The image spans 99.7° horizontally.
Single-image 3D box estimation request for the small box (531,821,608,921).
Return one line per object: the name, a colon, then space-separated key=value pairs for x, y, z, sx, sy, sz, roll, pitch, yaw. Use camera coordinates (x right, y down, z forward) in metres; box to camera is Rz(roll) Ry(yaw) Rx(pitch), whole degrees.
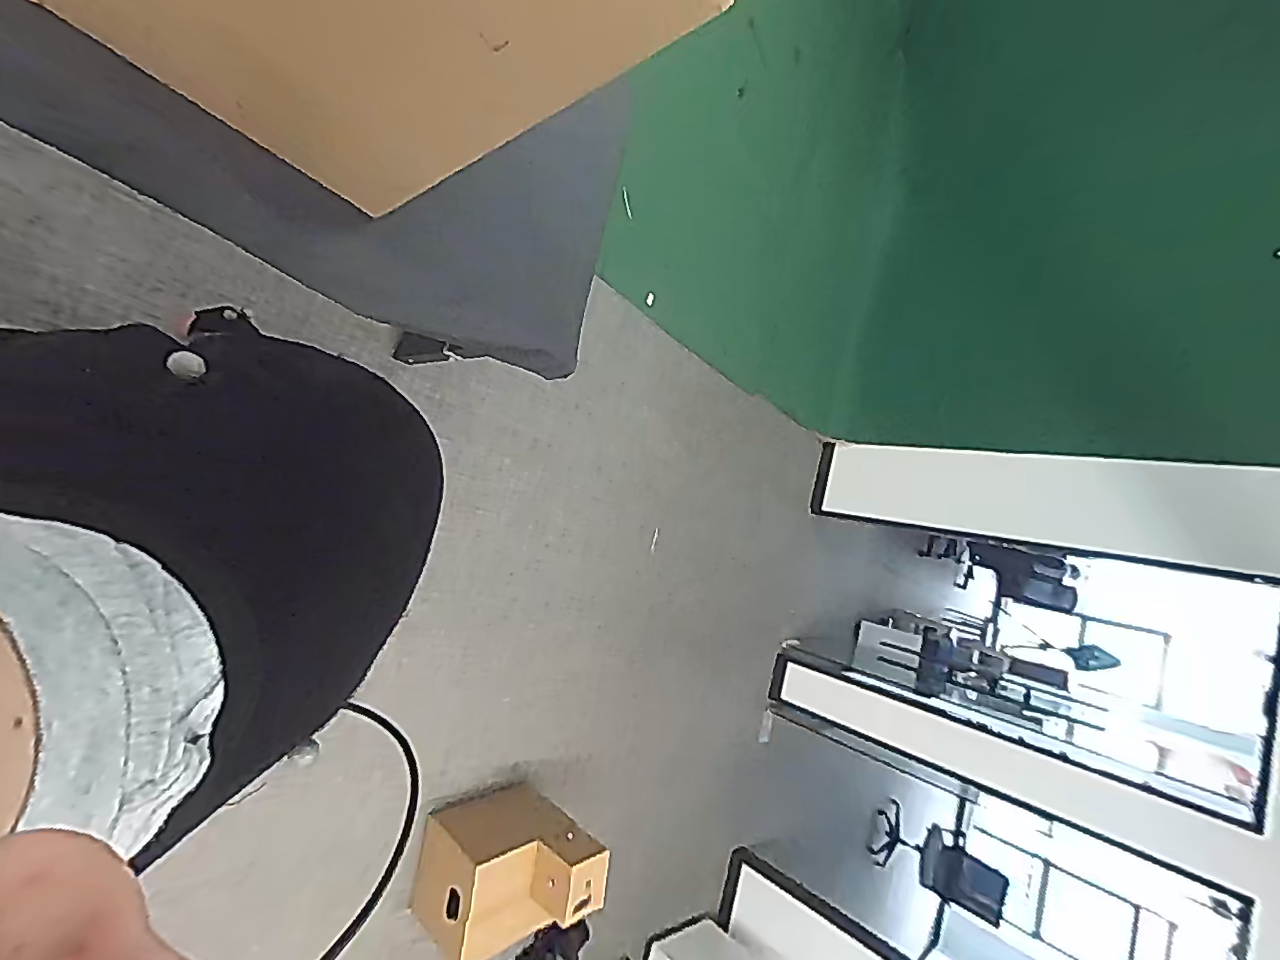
small box: x=-0.229 y=1.240 z=1.729 sx=0.168 sy=0.176 sz=0.179 roll=13 pitch=82 yaw=-47
